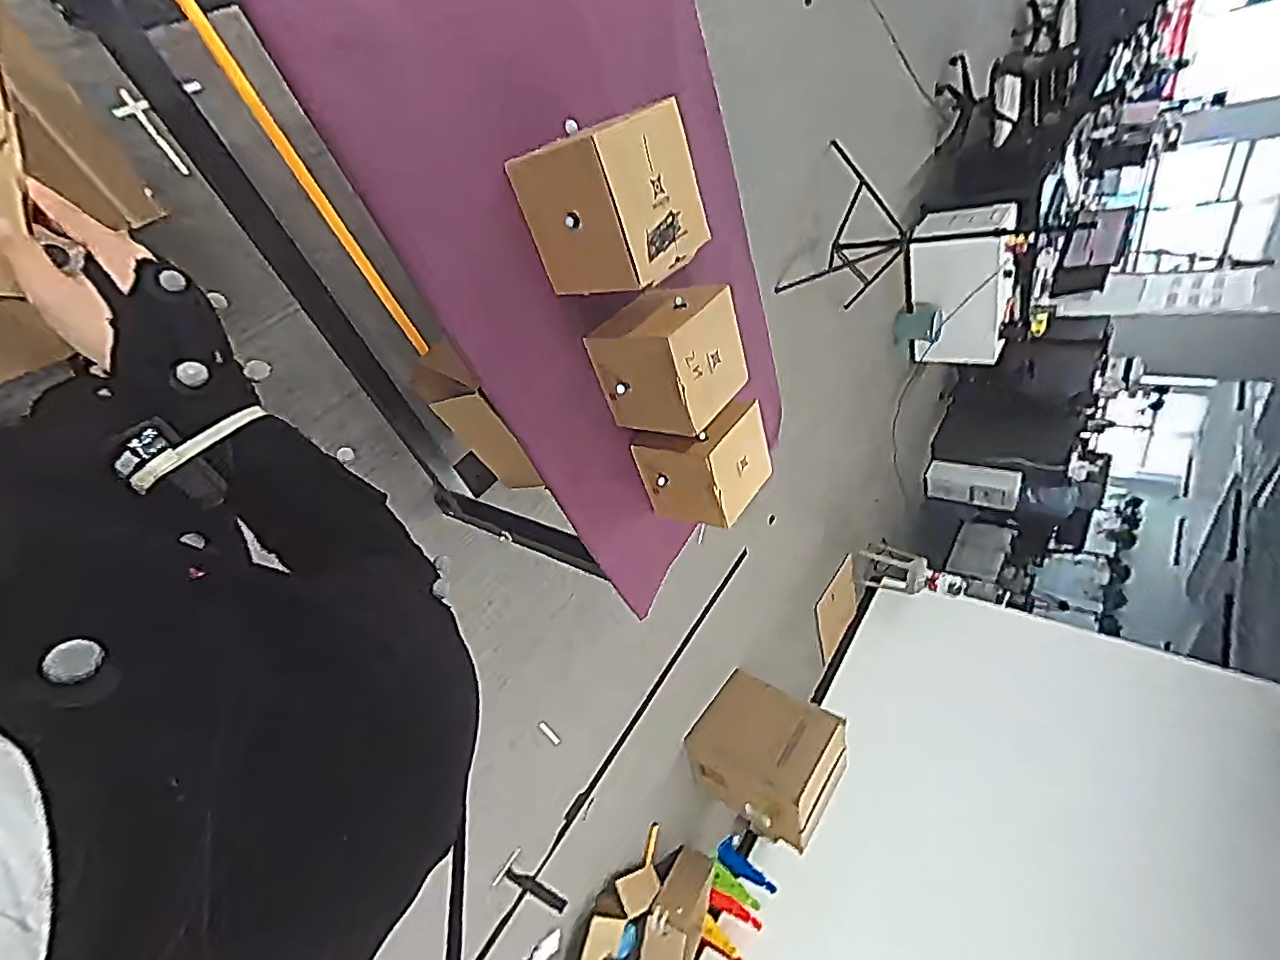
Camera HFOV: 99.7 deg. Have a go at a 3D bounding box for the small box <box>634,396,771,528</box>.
[{"bbox_3d":[0.117,-0.042,0.993,0.179,0.176,0.168,-46,131,-32],"label":"small box"}]

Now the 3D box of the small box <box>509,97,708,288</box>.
[{"bbox_3d":[-0.039,-0.371,0.721,0.168,0.176,0.179,-46,130,-31],"label":"small box"}]
